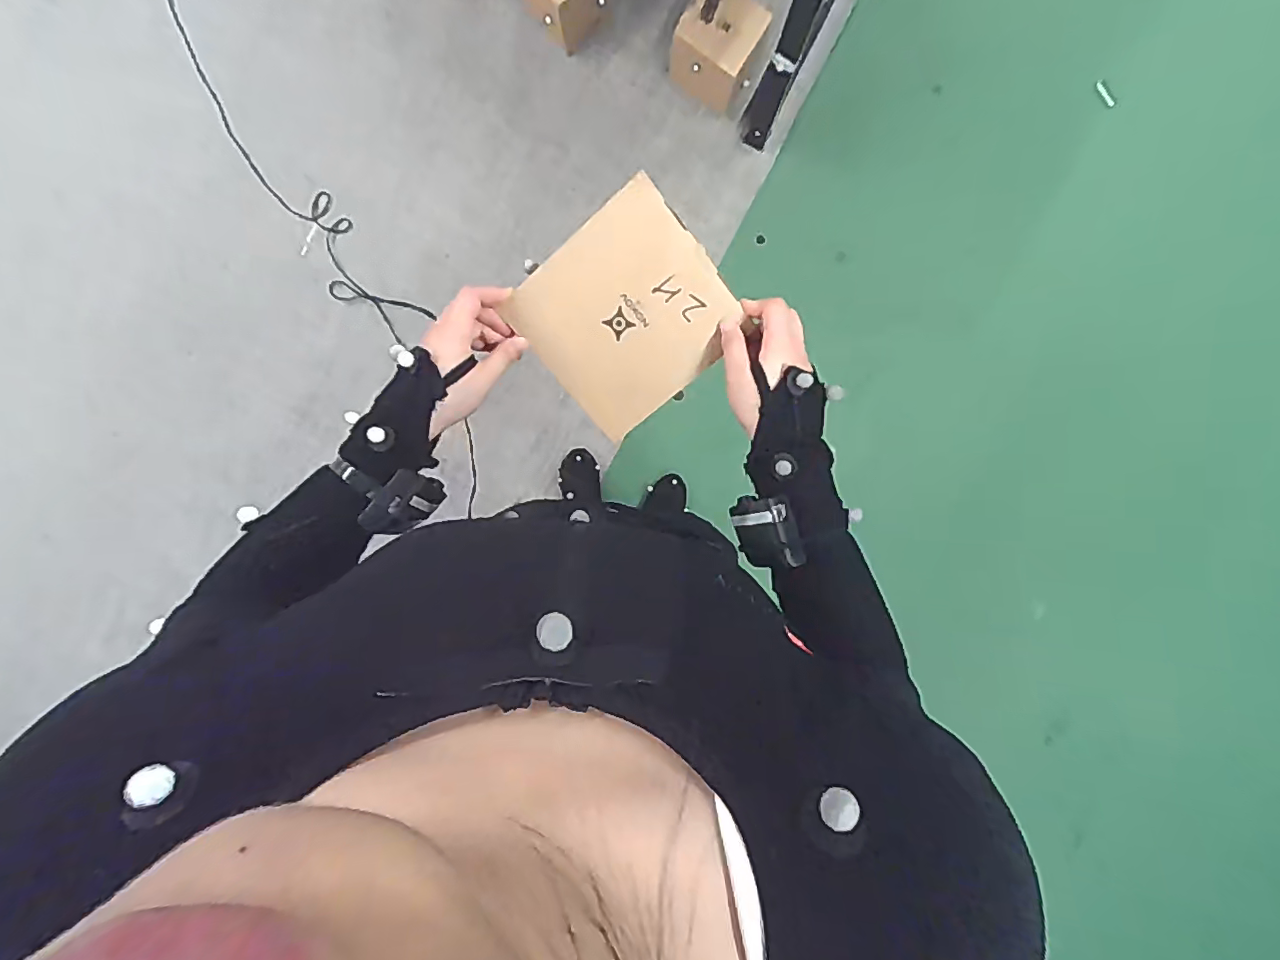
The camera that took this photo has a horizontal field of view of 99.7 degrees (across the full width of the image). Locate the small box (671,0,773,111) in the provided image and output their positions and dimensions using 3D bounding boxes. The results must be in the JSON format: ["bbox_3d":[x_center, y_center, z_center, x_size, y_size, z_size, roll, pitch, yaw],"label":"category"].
[{"bbox_3d":[0.188,-1.055,1.317,0.179,0.176,0.168,33,94,-3],"label":"small box"}]

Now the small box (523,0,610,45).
[{"bbox_3d":[-0.187,-1.211,1.306,0.168,0.176,0.179,-42,92,2],"label":"small box"}]

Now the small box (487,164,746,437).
[{"bbox_3d":[-0.020,-0.176,0.552,0.179,0.176,0.168,-38,107,13],"label":"small box"}]
